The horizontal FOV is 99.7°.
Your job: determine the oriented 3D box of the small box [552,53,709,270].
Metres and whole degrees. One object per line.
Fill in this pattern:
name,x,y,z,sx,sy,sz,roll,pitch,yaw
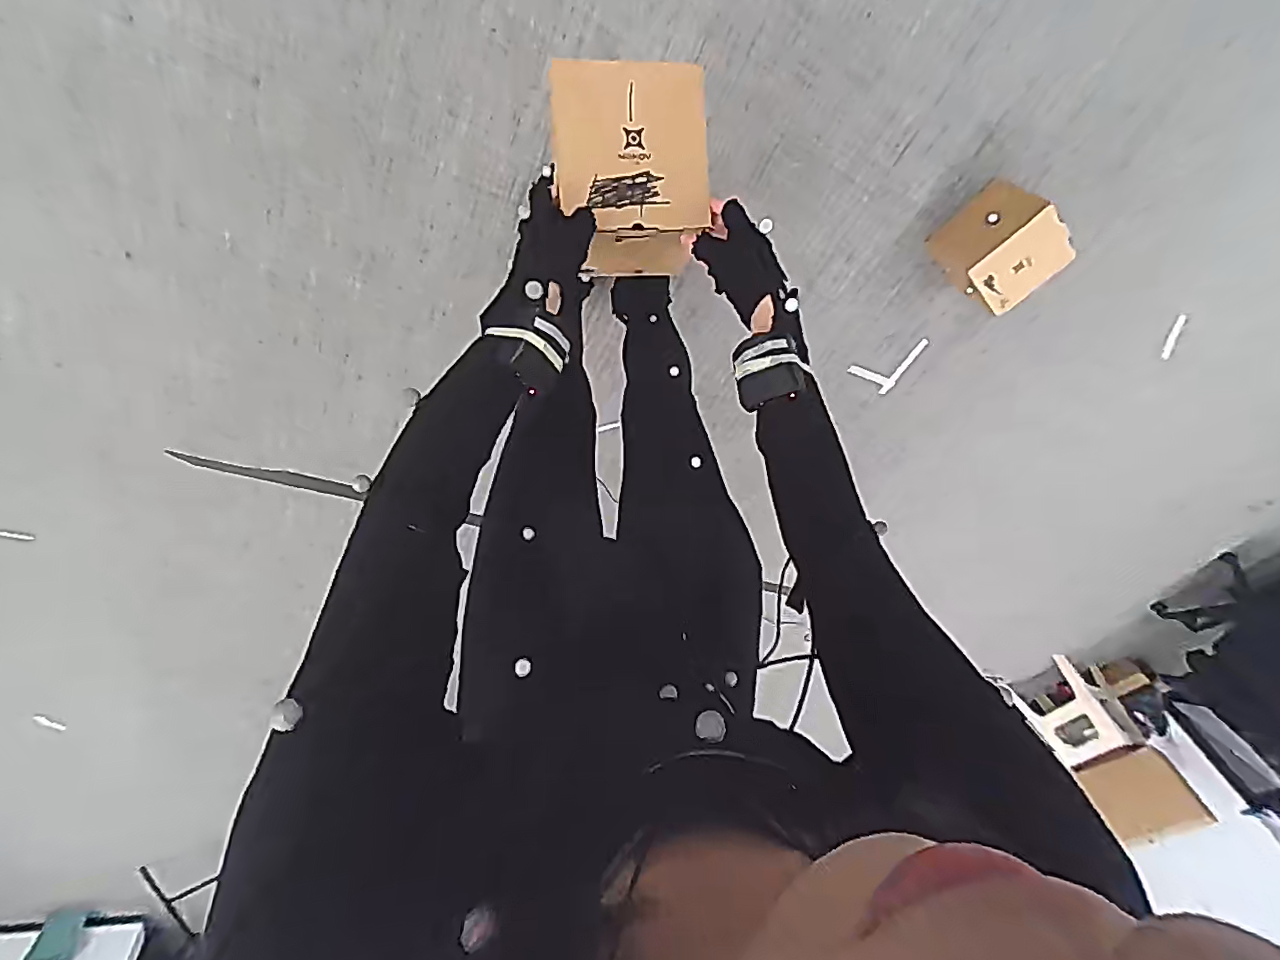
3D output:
small box,-0.018,-0.365,0.656,0.168,0.176,0.179,-4,94,-9

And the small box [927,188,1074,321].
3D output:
small box,0.763,-0.486,1.159,0.168,0.176,0.179,30,120,-32
